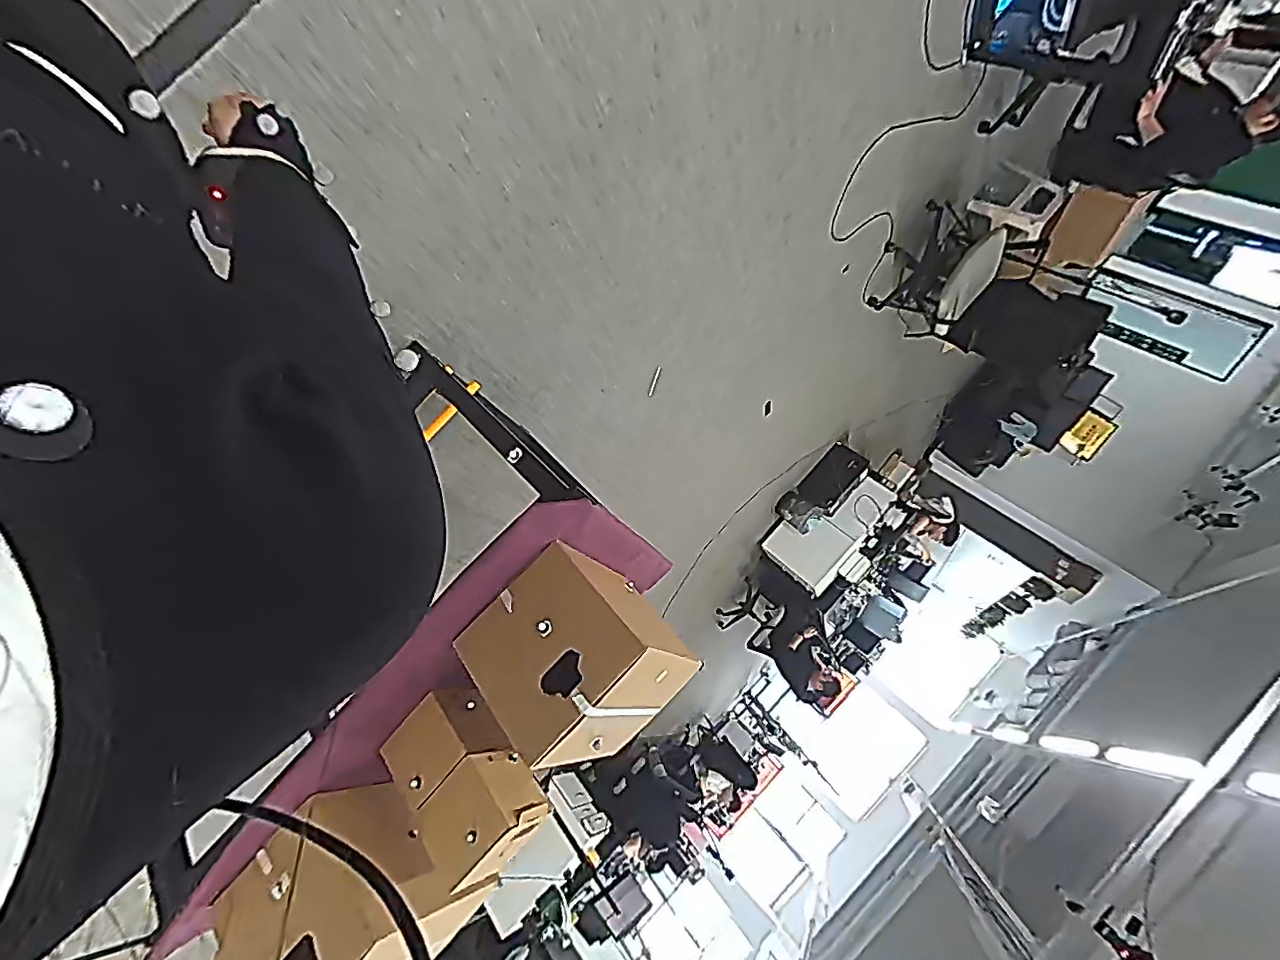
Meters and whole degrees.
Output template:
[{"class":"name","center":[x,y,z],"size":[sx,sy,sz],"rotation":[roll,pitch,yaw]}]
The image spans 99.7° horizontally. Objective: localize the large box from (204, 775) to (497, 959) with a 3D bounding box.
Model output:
[{"class":"large box","center":[-0.605,0.904,1.177],"size":[0.320,0.320,0.408],"rotation":[-47,152,-3]}]
